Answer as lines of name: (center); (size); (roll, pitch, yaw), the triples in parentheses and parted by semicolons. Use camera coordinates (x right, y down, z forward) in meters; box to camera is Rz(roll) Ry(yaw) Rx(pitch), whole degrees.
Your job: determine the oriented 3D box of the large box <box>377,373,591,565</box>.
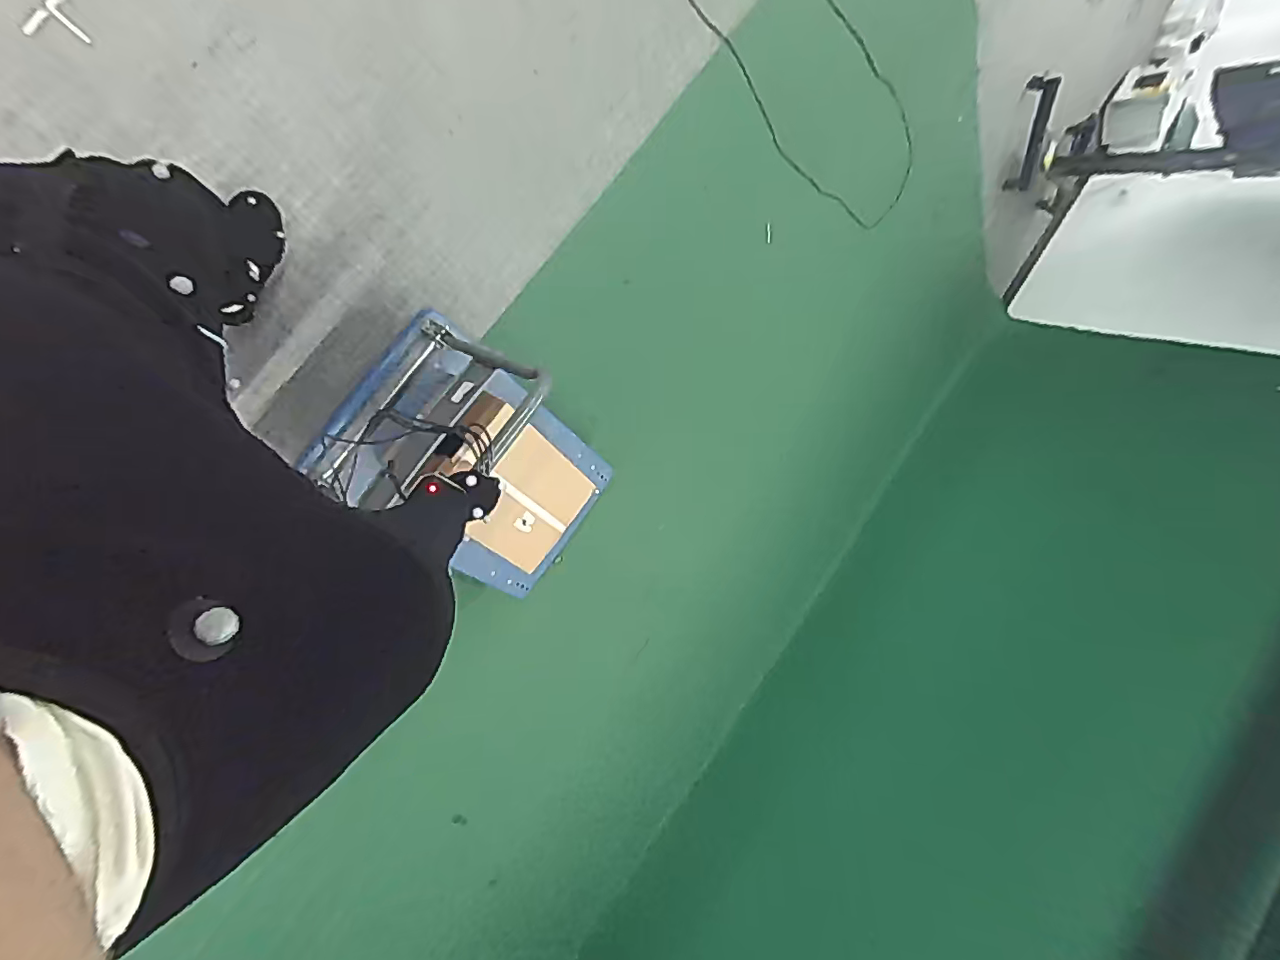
large box: (-0.419, -0.029, 1.487); (0.320, 0.320, 0.408); (-52, 137, -9)
